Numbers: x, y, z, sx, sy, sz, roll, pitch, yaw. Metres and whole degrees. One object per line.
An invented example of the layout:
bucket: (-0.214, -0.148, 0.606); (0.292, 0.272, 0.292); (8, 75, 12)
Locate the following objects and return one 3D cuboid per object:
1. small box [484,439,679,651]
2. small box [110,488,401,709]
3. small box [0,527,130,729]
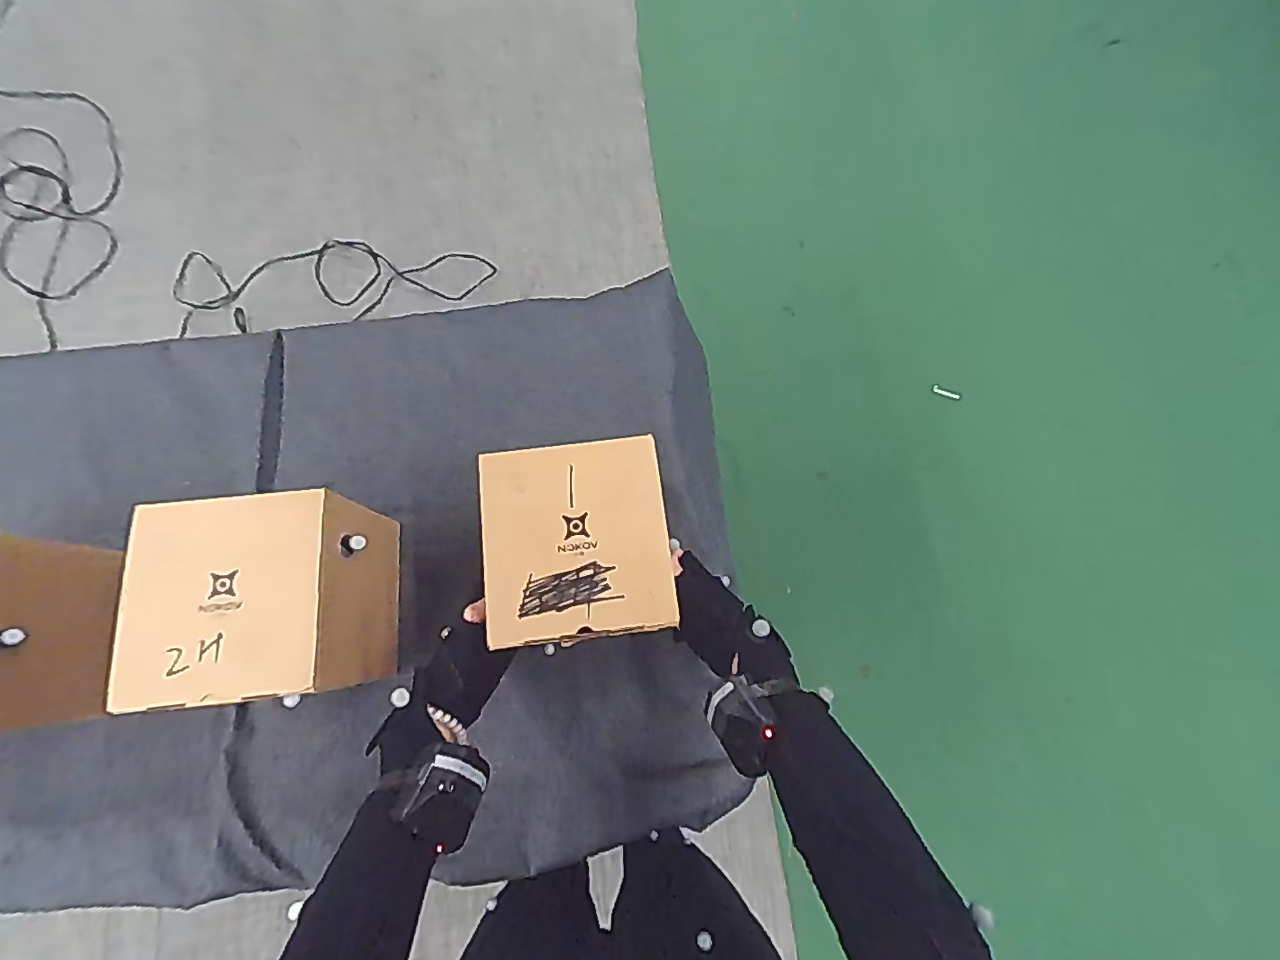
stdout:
small box: (-0.056, 0.073, 0.557); (0.168, 0.176, 0.179); (-6, 74, -4)
small box: (-0.351, 0.116, 0.534); (0.168, 0.176, 0.179); (-5, 75, -3)
small box: (-0.648, 0.148, 0.517); (0.168, 0.176, 0.179); (-5, 76, -4)
